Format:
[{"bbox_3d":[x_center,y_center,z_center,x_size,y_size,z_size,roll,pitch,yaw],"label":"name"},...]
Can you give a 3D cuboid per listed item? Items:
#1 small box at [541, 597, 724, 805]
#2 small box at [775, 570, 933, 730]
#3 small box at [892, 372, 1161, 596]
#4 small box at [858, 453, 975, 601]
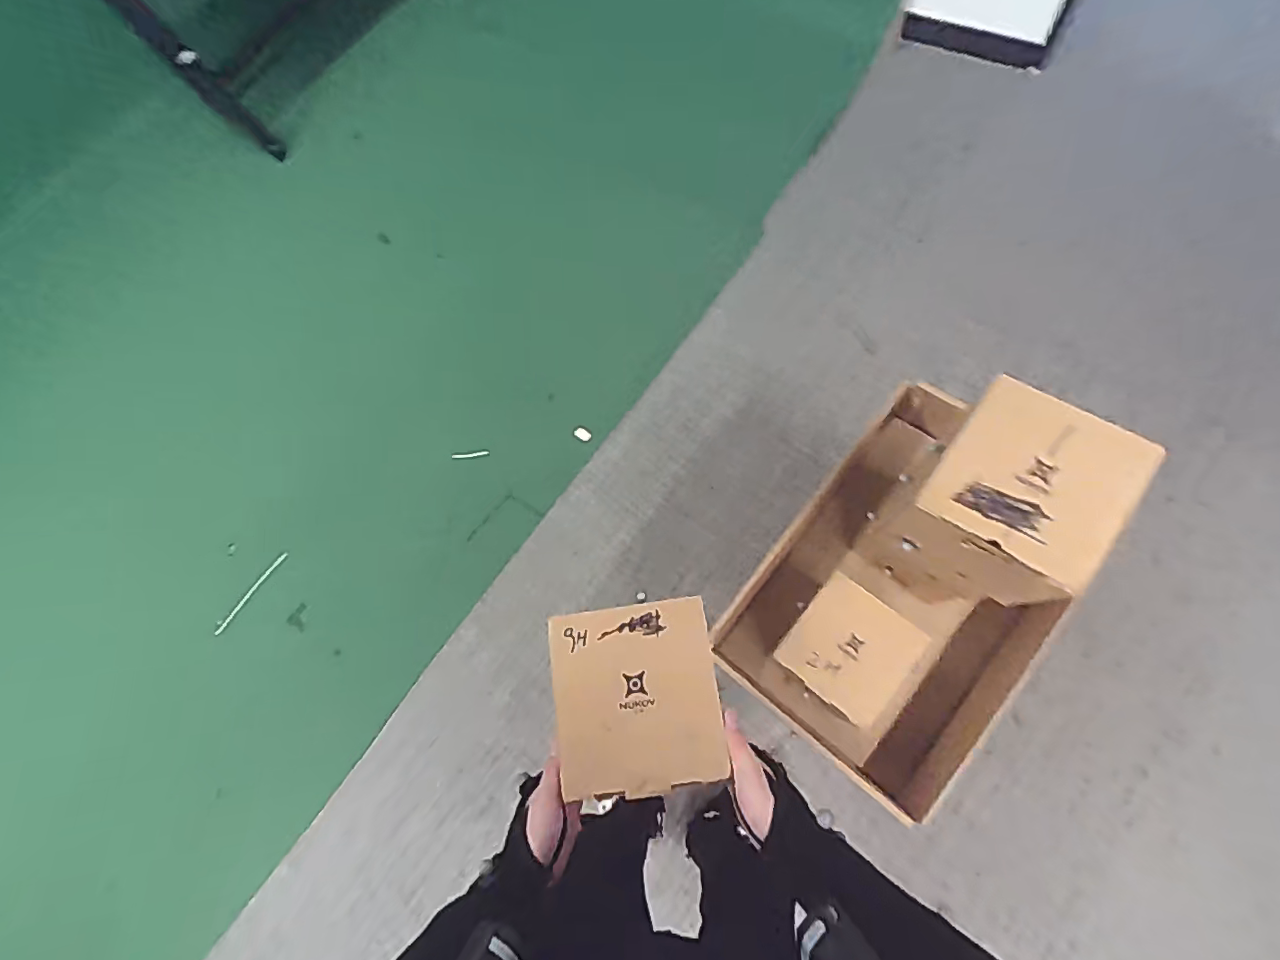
[{"bbox_3d":[-0.005,0.237,0.610,0.168,0.176,0.179,-10,72,1],"label":"small box"},{"bbox_3d":[0.336,0.278,0.892,0.168,0.176,0.179,38,82,21],"label":"small box"},{"bbox_3d":[0.413,0.016,0.618,0.168,0.176,0.179,34,84,20],"label":"small box"},{"bbox_3d":[0.499,0.087,0.928,0.168,0.176,0.179,36,85,20],"label":"small box"}]
